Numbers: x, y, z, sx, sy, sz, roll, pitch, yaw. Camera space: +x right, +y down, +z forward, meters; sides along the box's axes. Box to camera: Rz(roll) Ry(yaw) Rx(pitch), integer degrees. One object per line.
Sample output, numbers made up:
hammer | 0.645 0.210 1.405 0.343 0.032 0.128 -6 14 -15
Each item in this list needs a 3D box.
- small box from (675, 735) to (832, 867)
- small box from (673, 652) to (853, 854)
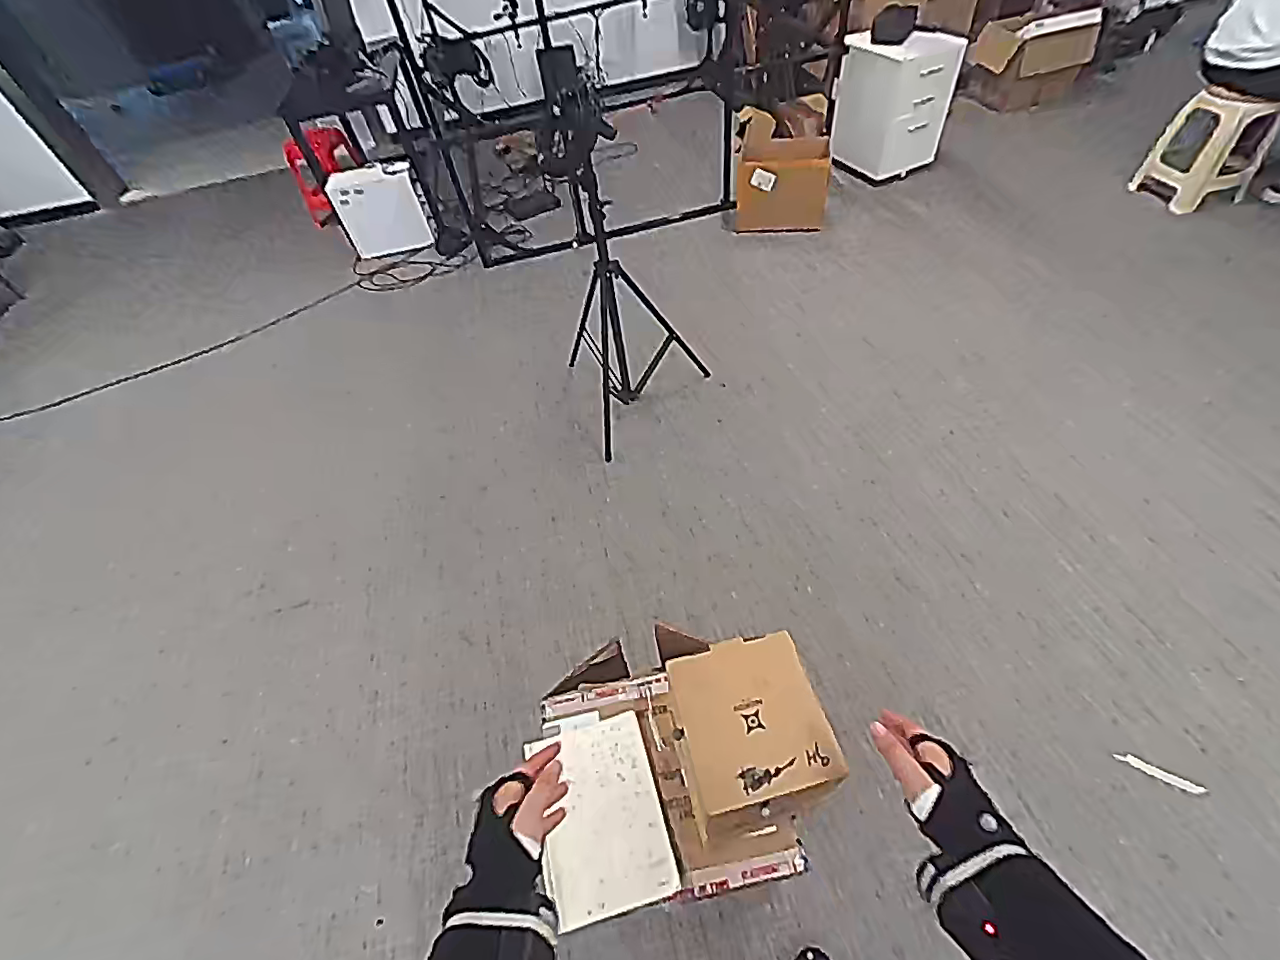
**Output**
small box | 0.159 0.461 0.818 0.179 0.176 0.168 -16 51 -6
small box | 0.141 0.352 0.696 0.168 0.176 0.179 -13 51 -5
